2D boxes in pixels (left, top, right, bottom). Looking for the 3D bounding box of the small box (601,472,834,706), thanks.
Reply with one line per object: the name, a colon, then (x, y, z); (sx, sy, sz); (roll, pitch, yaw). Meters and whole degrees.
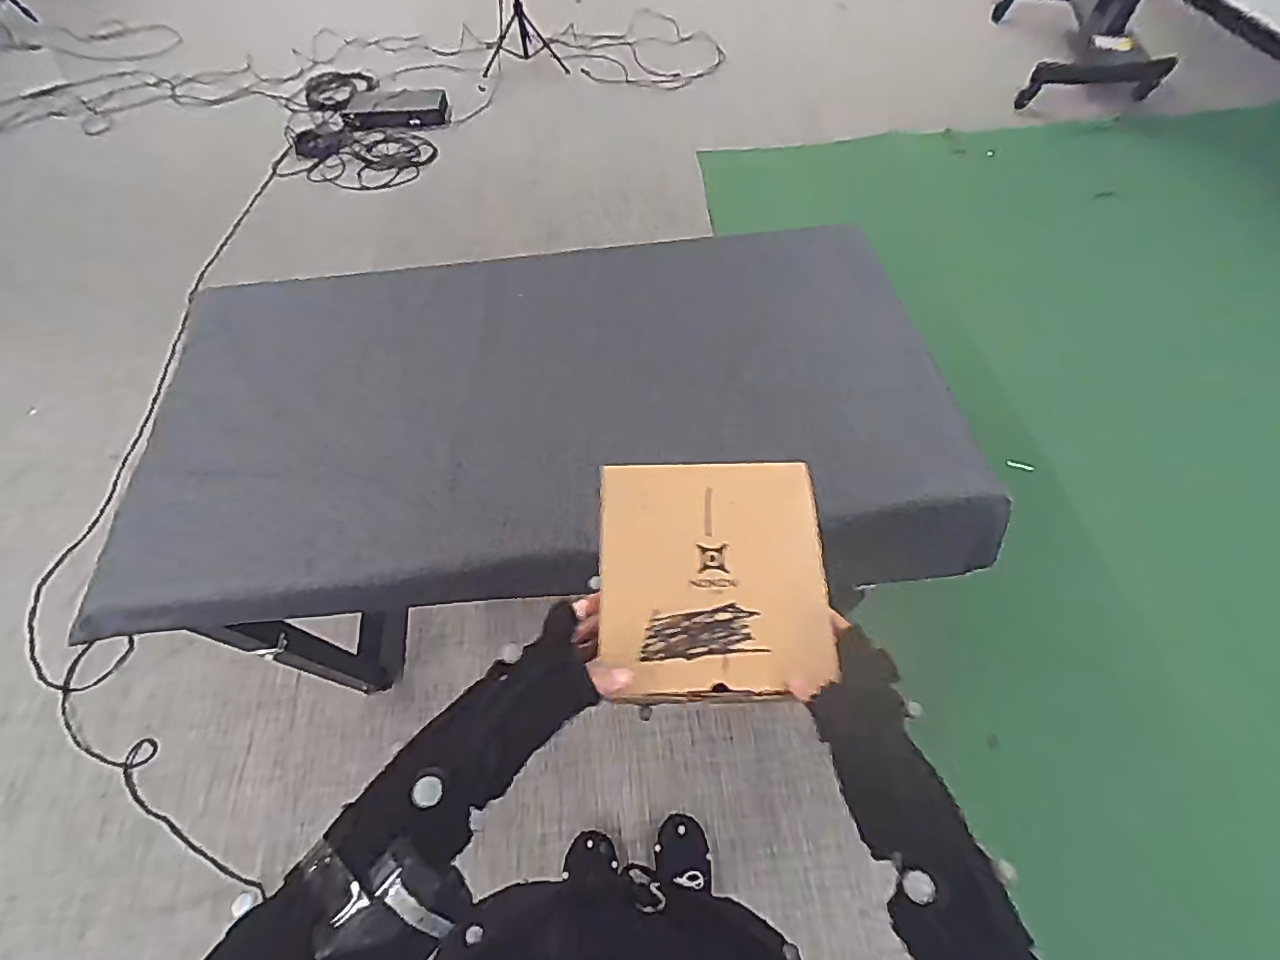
small box: (0.058, 0.106, 0.483); (0.168, 0.176, 0.179); (1, 66, 0)
